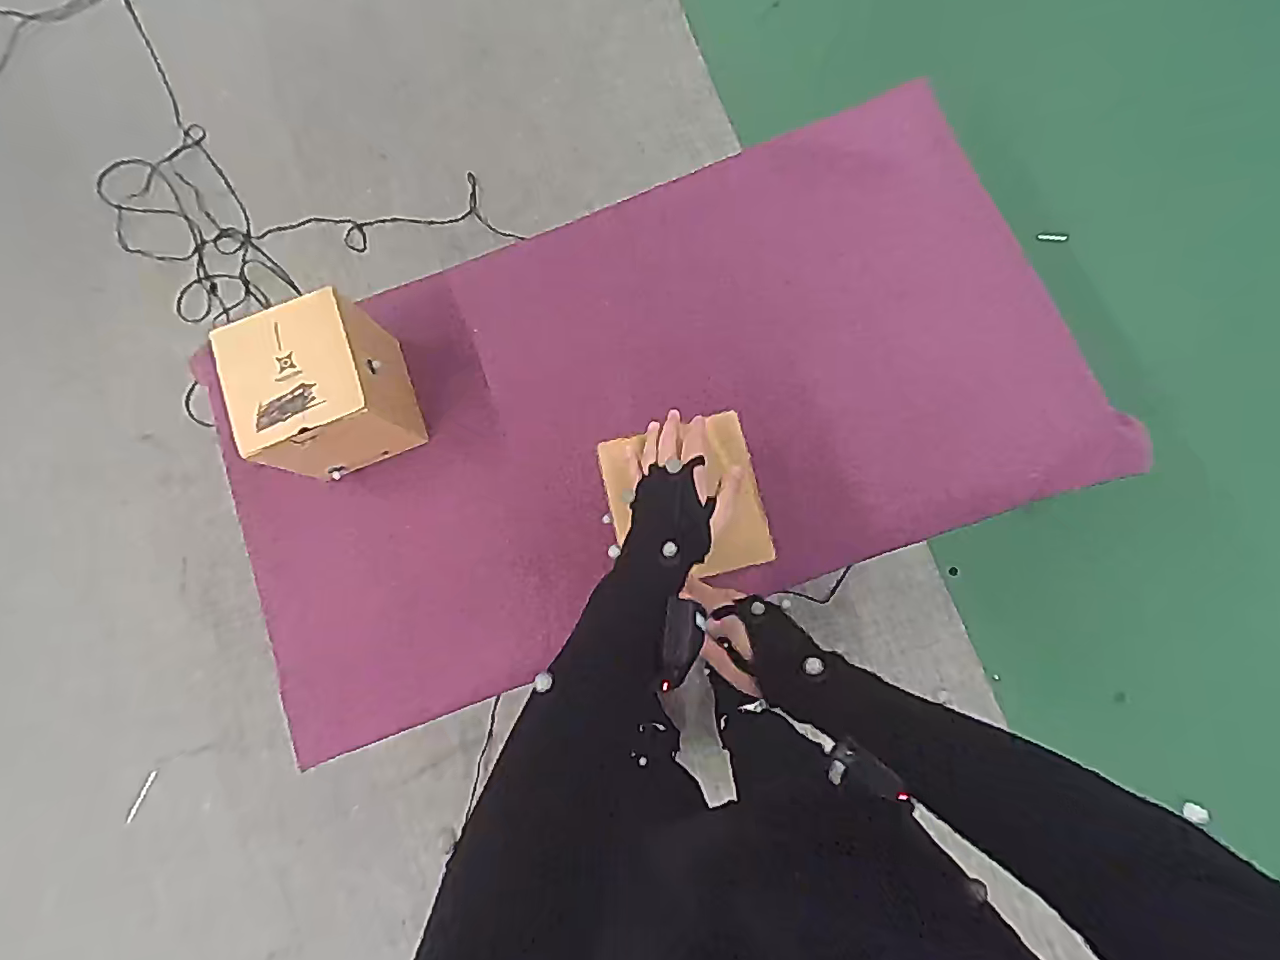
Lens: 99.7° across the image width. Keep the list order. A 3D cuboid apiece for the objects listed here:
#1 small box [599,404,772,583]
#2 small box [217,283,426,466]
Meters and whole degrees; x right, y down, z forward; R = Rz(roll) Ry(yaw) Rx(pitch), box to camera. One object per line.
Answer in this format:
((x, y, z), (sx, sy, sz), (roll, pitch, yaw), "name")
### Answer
((0.053, 0.027, 0.679), (0.168, 0.176, 0.179), (-13, 78, 2), "small box")
((-0.422, -0.128, 0.743), (0.168, 0.176, 0.179), (-21, 79, 0), "small box")
